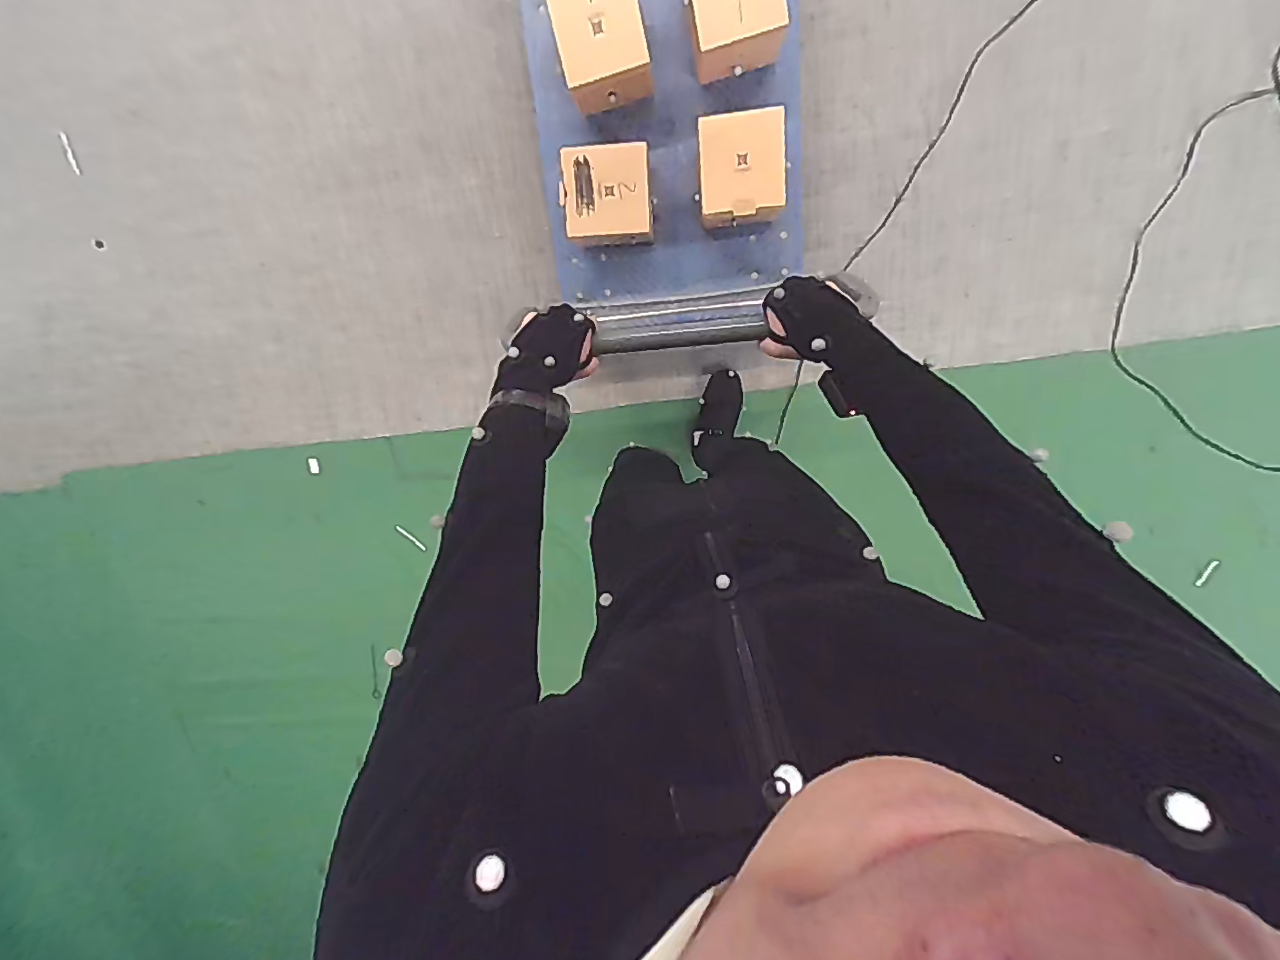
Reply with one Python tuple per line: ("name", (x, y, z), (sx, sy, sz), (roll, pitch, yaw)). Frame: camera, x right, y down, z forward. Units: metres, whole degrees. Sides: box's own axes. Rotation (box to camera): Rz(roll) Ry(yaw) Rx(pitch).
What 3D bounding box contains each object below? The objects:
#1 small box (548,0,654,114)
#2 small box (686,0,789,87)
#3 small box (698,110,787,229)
("small box", (-0.071, -0.870, 1.089), (0.168, 0.176, 0.179), (-12, 106, 8))
("small box", (0.183, -0.914, 1.053), (0.168, 0.176, 0.179), (-11, 107, 9))
("small box", (0.210, -0.642, 1.137), (0.168, 0.176, 0.179), (-4, 107, 6))
